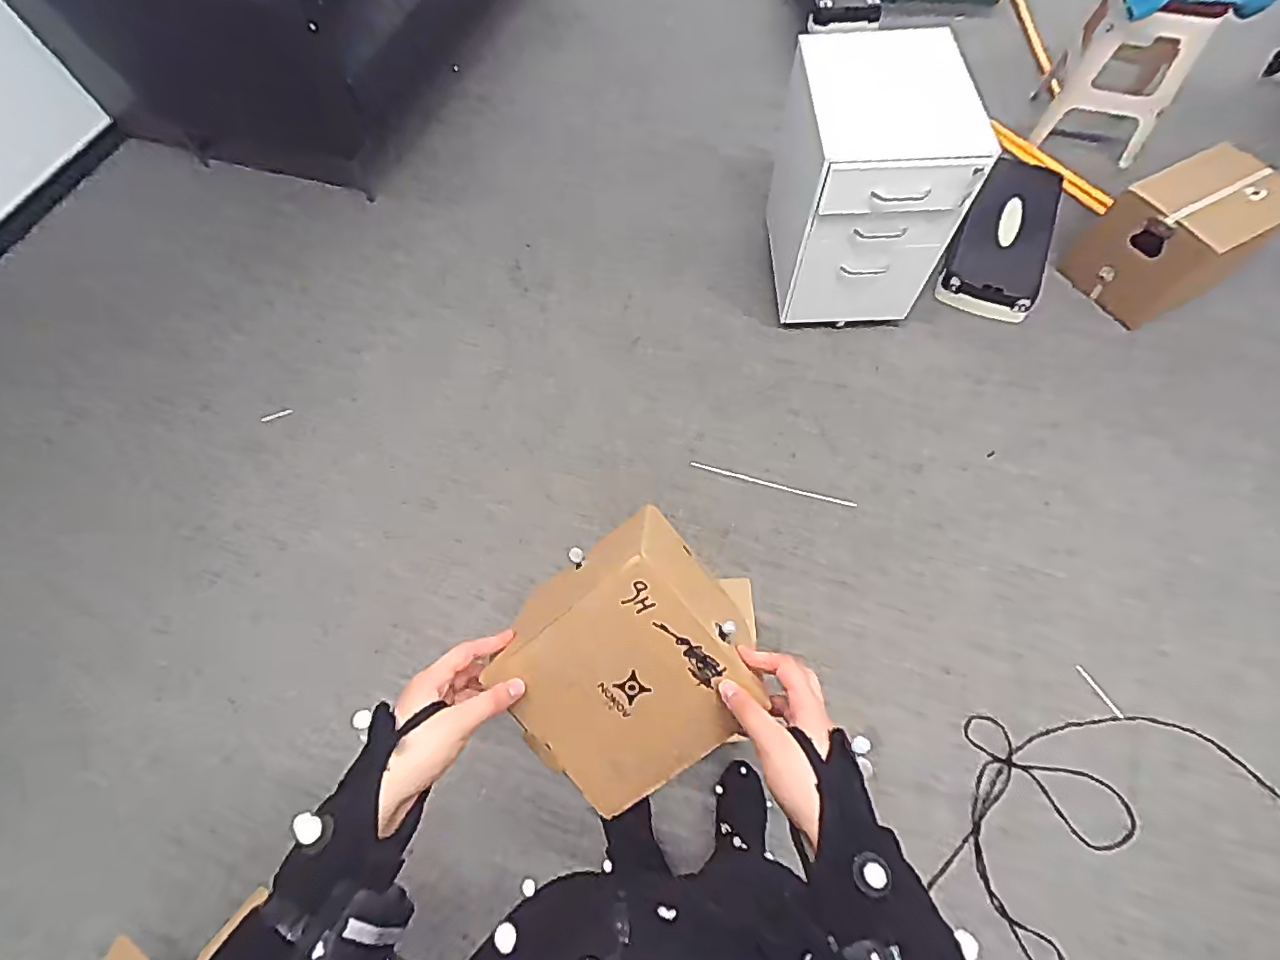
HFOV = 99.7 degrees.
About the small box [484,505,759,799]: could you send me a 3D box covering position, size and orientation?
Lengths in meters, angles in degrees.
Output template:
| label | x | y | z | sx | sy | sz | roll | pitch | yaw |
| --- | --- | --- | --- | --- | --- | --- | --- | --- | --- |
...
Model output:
| label | x | y | z | sx | sy | sz | roll | pitch | yaw |
| --- | --- | --- | --- | --- | --- | --- | --- | --- | --- |
| small box | -0.010 | 0.149 | 0.524 | 0.179 | 0.176 | 0.168 | -39 | 95 | 9 |
